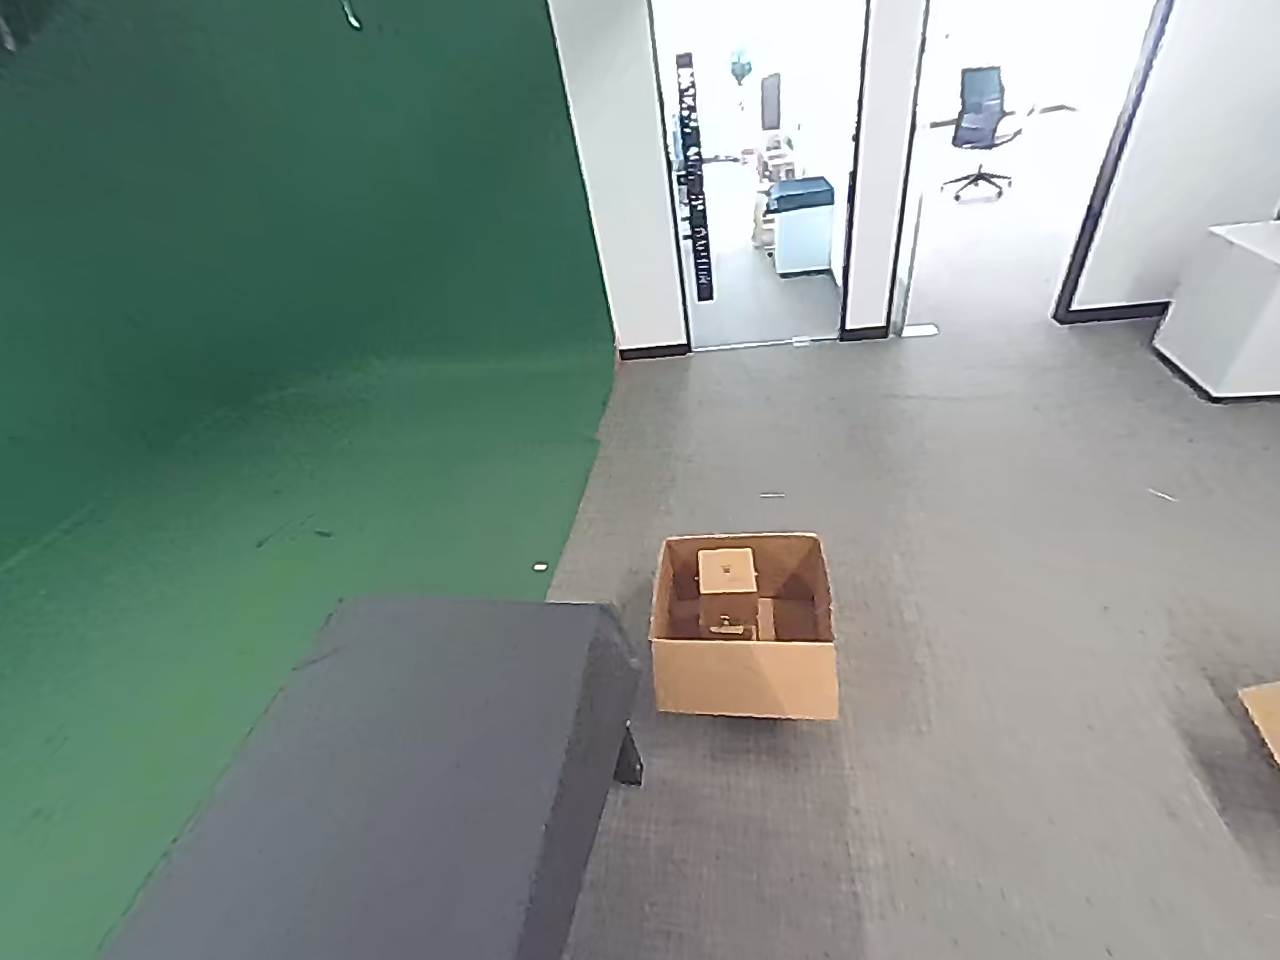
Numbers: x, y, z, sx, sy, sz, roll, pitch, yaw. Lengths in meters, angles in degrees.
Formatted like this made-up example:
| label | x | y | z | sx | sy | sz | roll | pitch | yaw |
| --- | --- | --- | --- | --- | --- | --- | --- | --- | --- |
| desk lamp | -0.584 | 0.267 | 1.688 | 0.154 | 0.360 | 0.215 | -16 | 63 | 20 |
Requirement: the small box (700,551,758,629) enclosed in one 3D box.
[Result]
| label | x | y | z | sx | sy | sz | roll | pitch | yaw |
| --- | --- | --- | --- | --- | --- | --- | --- | --- | --- |
| small box | 0.269 | 0.339 | 1.666 | 0.168 | 0.176 | 0.179 | -4 | 39 | 6 |
